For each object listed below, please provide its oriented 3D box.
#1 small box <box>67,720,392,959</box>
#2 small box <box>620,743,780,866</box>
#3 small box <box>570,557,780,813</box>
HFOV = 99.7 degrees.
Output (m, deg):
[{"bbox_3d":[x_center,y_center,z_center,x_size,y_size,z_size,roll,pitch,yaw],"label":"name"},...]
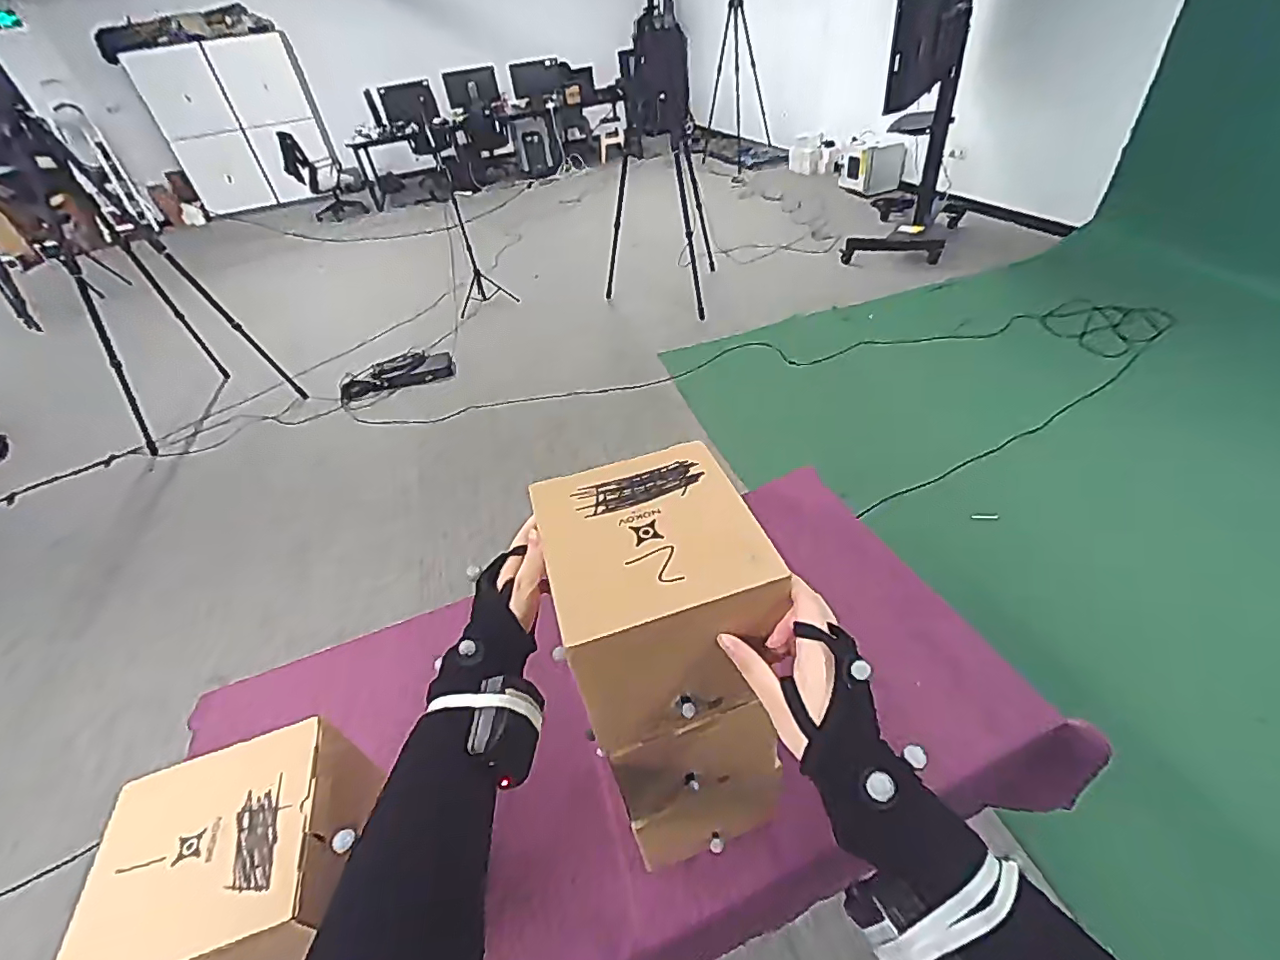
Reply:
[{"bbox_3d":[-0.348,0.362,0.500,0.179,0.176,0.168,-18,42,-9],"label":"small box"},{"bbox_3d":[0.057,0.349,0.690,0.179,0.176,0.168,-18,41,-10],"label":"small box"},{"bbox_3d":[0.033,0.220,0.591,0.168,0.176,0.179,-17,42,-10],"label":"small box"}]
